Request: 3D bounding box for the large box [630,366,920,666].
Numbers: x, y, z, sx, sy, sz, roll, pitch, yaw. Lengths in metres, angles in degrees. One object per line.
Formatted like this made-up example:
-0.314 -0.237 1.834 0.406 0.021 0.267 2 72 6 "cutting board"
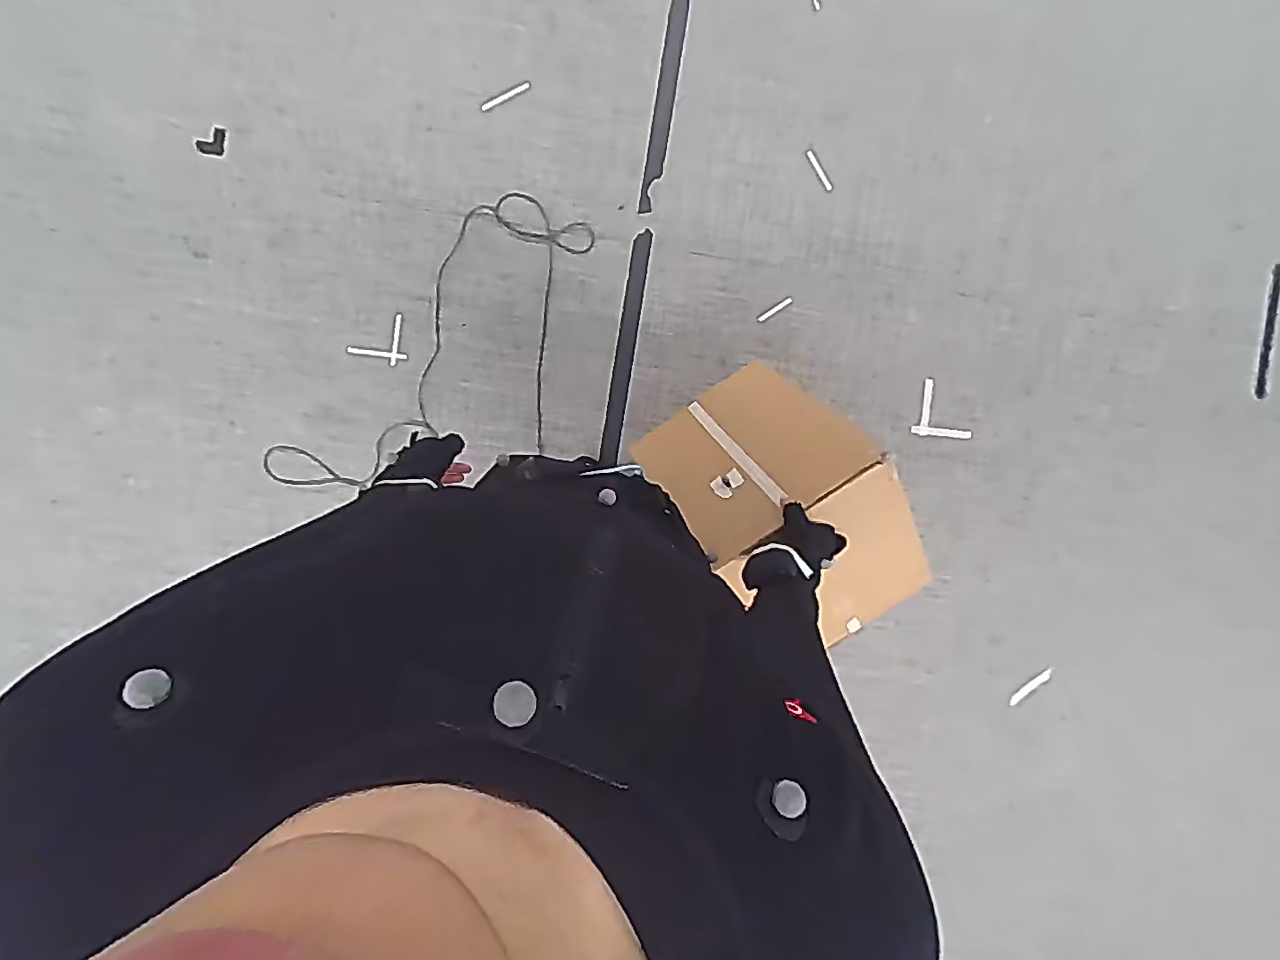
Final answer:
0.233 0.050 1.009 0.320 0.408 0.320 -35 126 3 "large box"
